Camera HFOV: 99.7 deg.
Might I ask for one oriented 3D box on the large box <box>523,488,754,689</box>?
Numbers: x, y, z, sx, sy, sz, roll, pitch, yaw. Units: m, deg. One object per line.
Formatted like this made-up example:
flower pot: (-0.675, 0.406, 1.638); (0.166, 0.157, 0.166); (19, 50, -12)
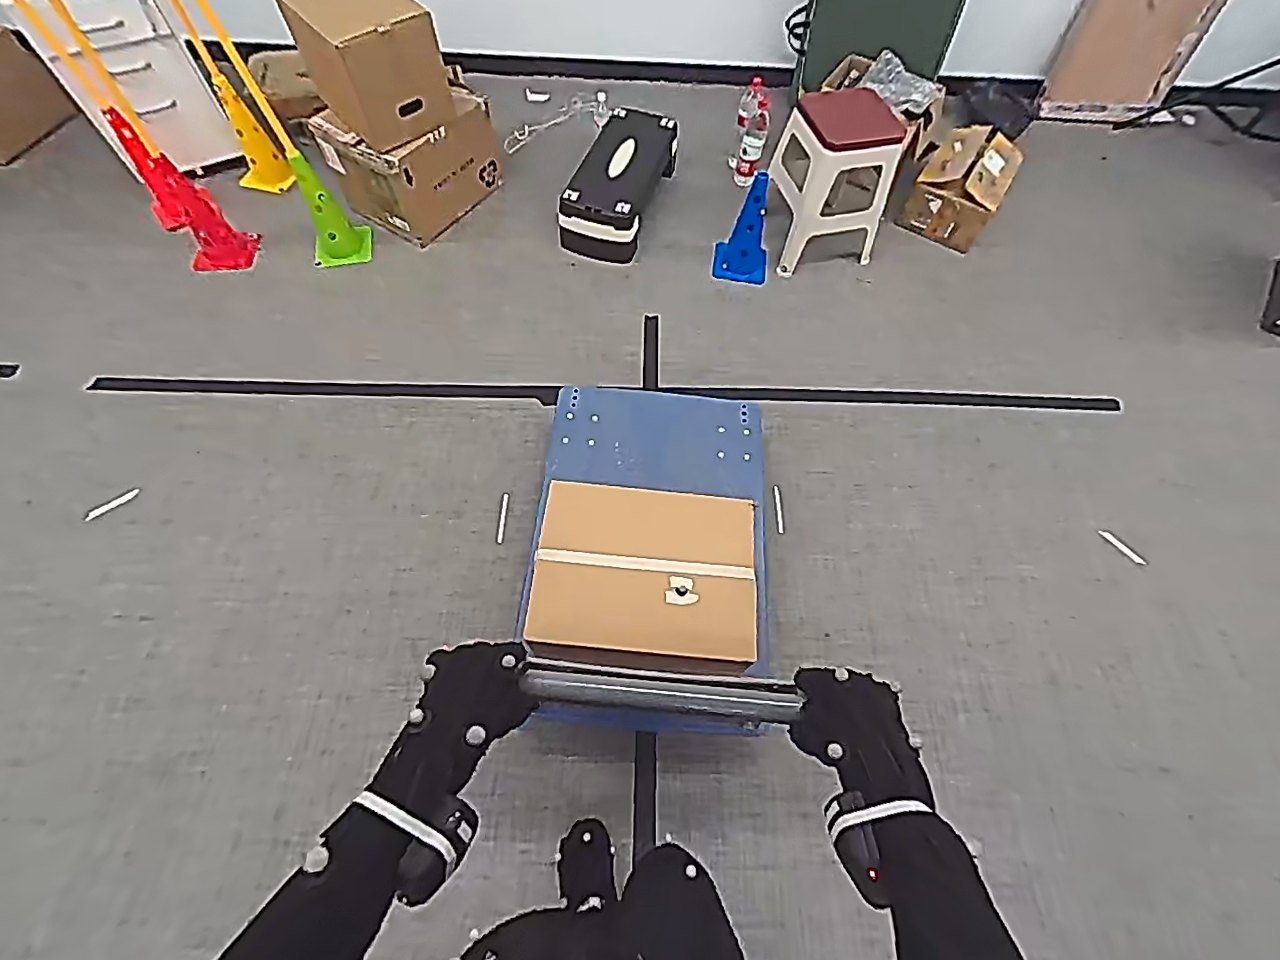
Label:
large box: (-0.003, 0.237, 1.118); (0.408, 0.320, 0.320); (6, 62, -1)
